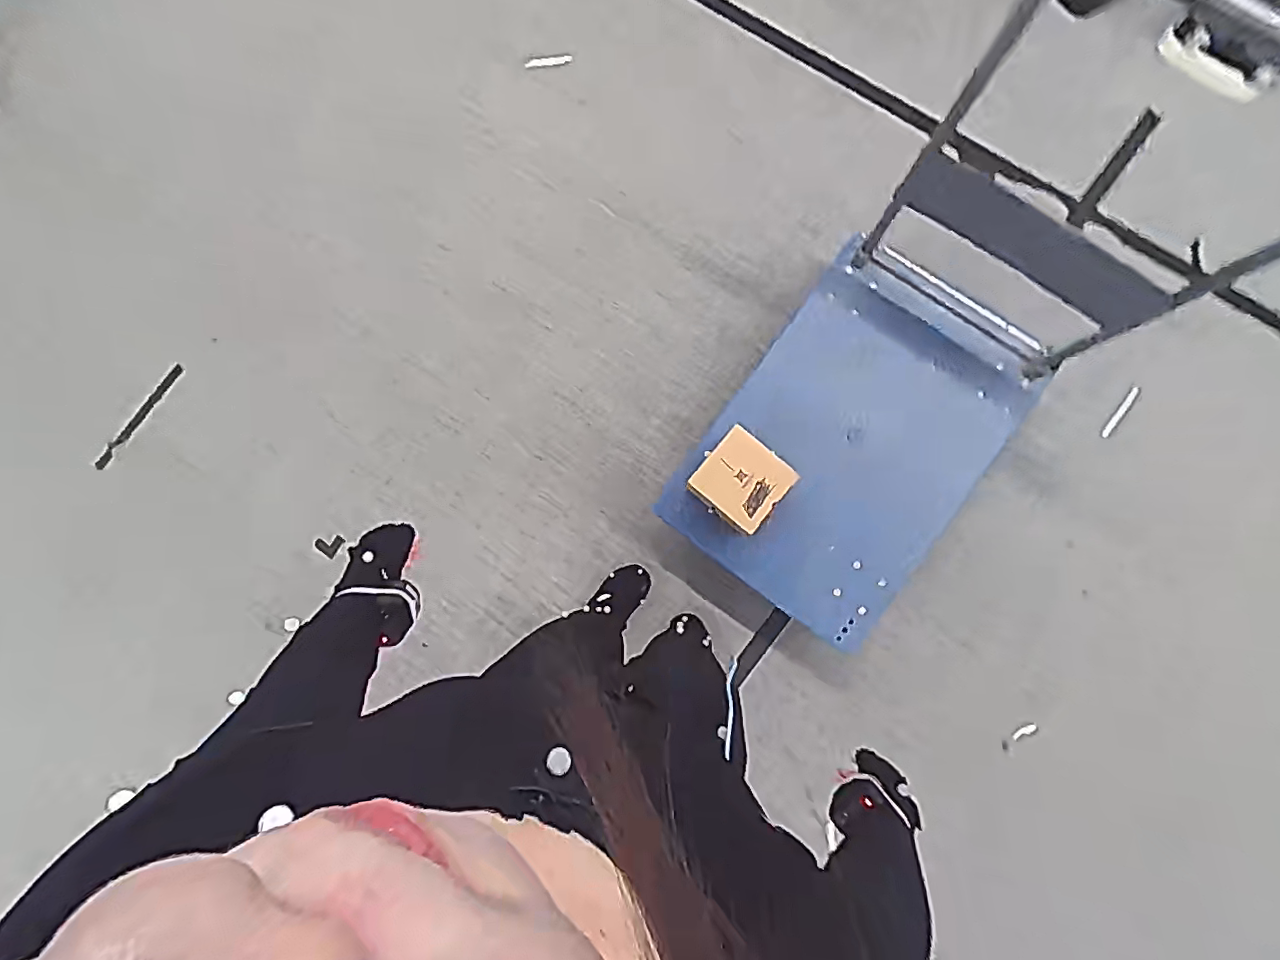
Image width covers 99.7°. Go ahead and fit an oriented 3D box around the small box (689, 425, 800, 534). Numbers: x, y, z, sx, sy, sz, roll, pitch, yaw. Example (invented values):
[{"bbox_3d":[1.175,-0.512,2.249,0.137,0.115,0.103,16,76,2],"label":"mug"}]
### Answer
[{"bbox_3d":[0.227,0.003,1.218,0.179,0.176,0.168,41,89,7],"label":"small box"}]
